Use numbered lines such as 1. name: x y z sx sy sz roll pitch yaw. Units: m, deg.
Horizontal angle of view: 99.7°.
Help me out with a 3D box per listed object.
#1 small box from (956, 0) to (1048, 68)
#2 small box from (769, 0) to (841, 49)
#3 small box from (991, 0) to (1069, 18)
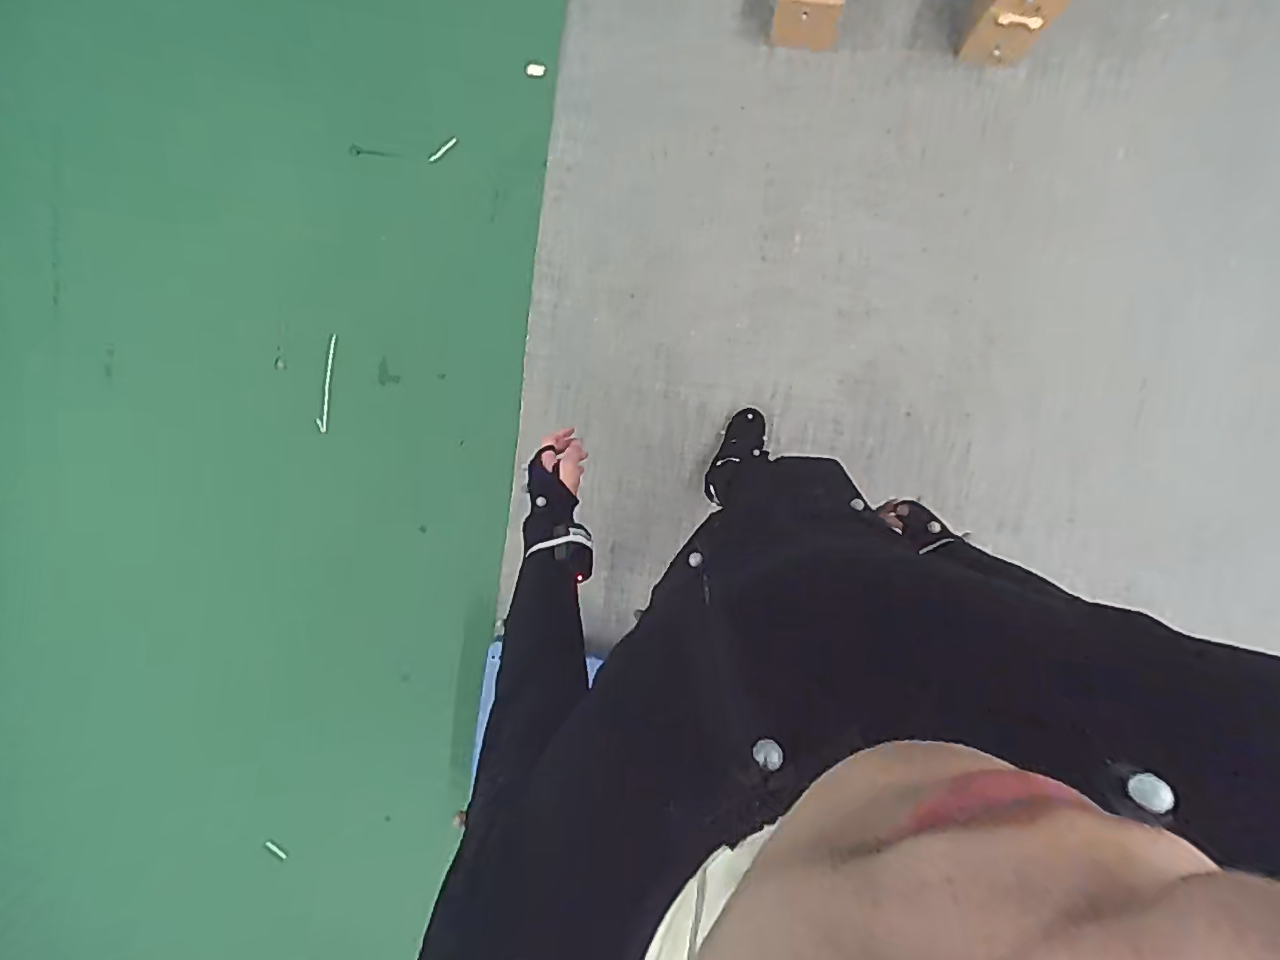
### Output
1. small box: 0.956 -1.229 1.399 0.168 0.176 0.179 20 96 8
2. small box: 0.455 -1.312 1.458 0.179 0.176 0.168 13 95 6
3. small box: 0.945 -1.223 1.239 0.168 0.176 0.179 14 95 5
